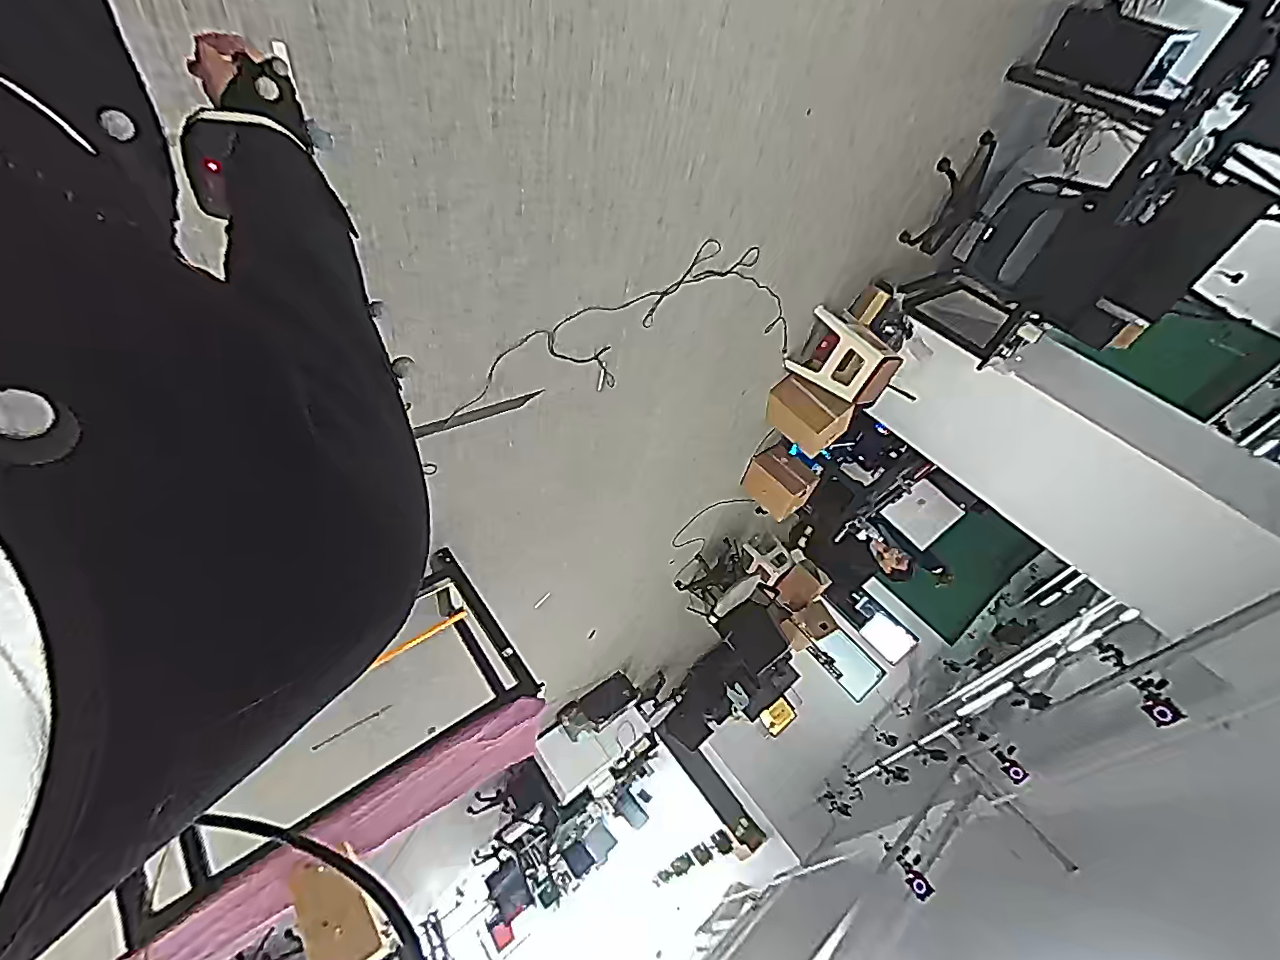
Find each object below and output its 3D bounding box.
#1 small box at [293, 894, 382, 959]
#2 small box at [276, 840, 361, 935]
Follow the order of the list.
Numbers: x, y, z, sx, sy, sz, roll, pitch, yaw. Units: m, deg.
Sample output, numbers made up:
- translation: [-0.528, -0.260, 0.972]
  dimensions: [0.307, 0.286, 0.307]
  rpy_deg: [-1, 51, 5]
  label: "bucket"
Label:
- translation: [-0.871, 1.345, 1.562]
  dimensions: [0.168, 0.176, 0.179]
  rpy_deg: [-25, 148, -35]
  label: "small box"
- translation: [-0.971, 1.236, 1.637]
  dimensions: [0.168, 0.176, 0.179]
  rpy_deg: [-25, 148, -35]
  label: "small box"
